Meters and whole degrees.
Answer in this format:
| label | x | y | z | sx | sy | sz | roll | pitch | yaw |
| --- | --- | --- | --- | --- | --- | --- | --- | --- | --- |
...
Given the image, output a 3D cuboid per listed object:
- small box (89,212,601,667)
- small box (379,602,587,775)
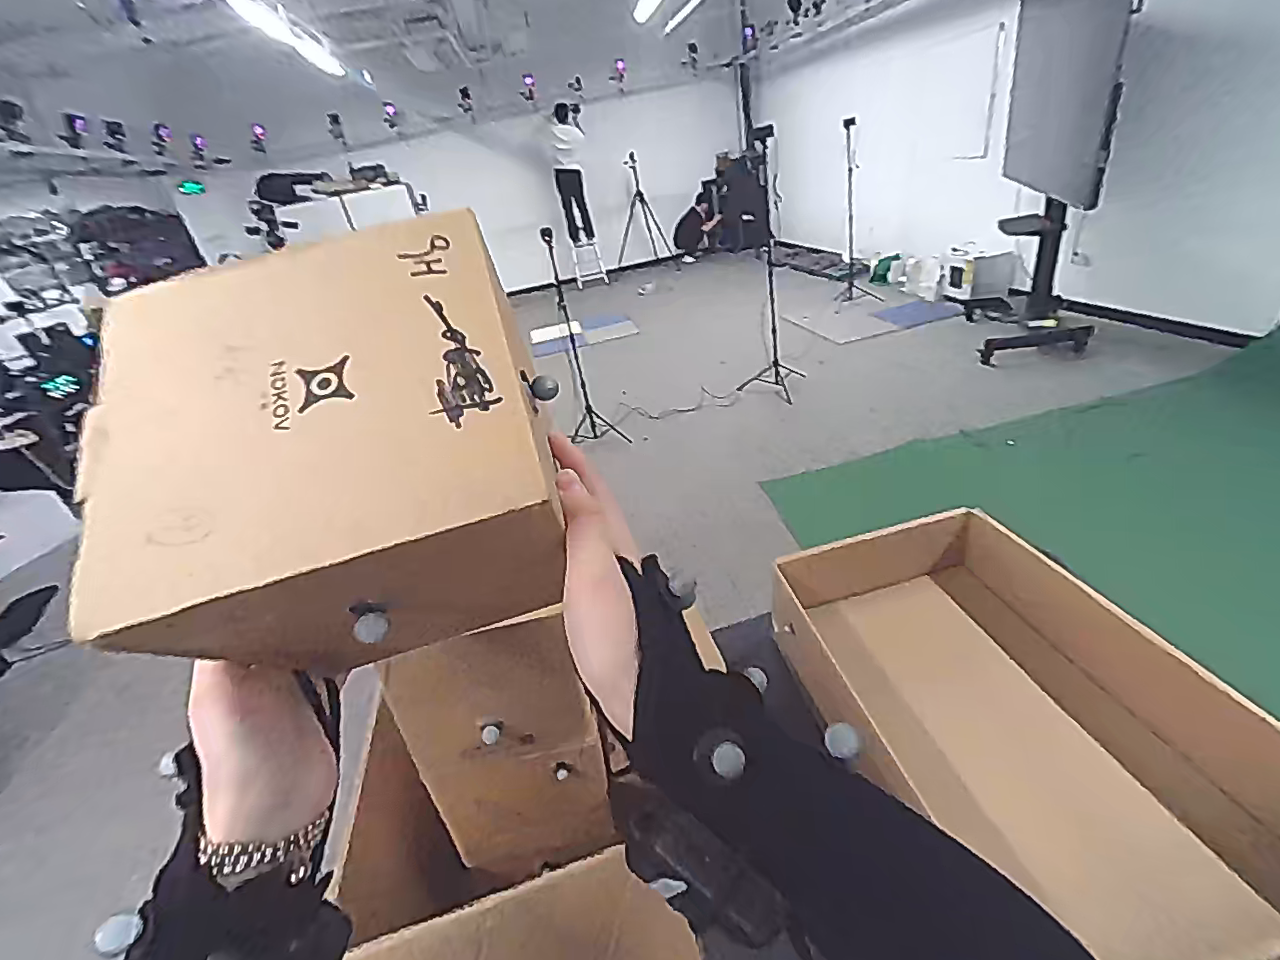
| label | x | y | z | sx | sy | sz | roll | pitch | yaw |
| --- | --- | --- | --- | --- | --- | --- | --- | --- | --- |
| small box | -0.132 | -0.004 | 0.301 | 0.179 | 0.176 | 0.168 | -17 | 69 | -5 |
| small box | -0.155 | 0.164 | 0.566 | 0.168 | 0.176 | 0.179 | -11 | 29 | -9 |
